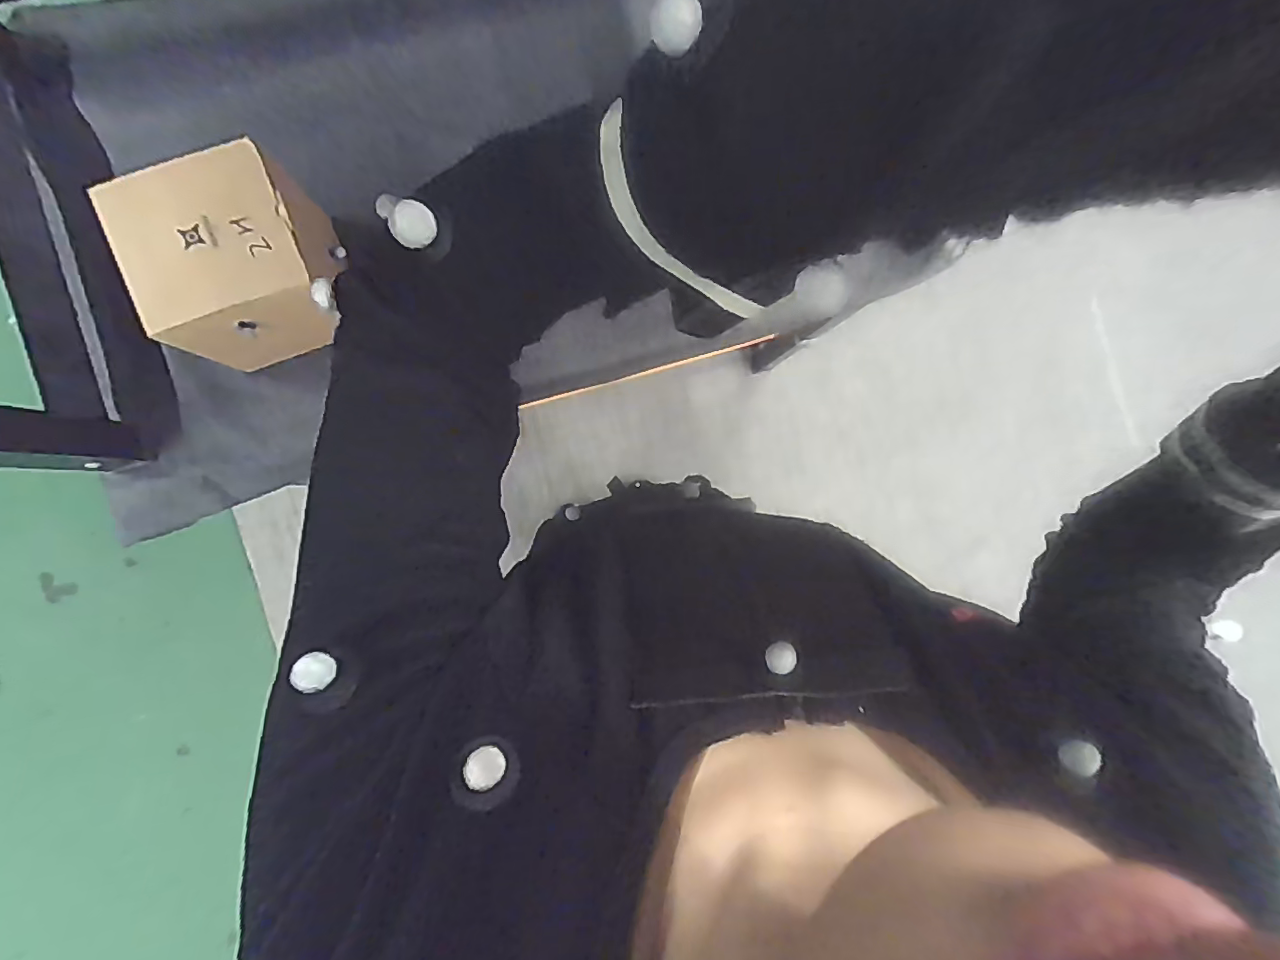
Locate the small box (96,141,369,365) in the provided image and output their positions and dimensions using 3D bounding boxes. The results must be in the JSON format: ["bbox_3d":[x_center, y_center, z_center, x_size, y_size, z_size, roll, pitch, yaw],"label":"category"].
[{"bbox_3d":[-0.466,-0.255,0.649,0.179,0.176,0.168,-22,91,-6],"label":"small box"}]
